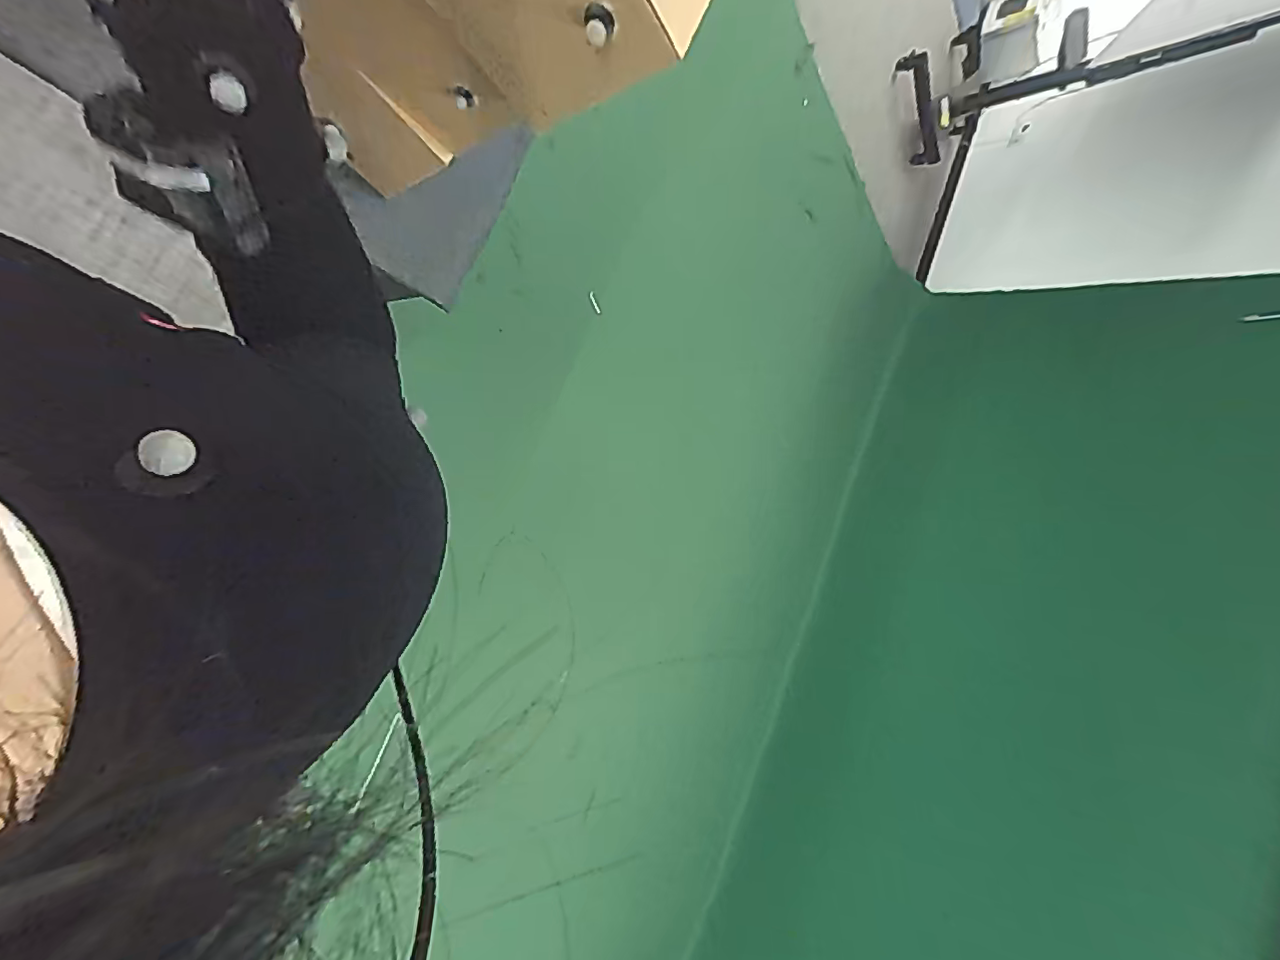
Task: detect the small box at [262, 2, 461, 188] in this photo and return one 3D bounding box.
[{"bbox_3d":[-0.279,-0.467,0.601,0.168,0.176,0.179,39,70,-43],"label":"small box"}]

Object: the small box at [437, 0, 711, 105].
[{"bbox_3d":[-0.050,-0.403,0.374,0.179,0.176,0.168,35,70,-44],"label":"small box"}]

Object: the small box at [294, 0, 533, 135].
[{"bbox_3d":[-0.169,-0.449,0.482,0.179,0.176,0.168,28,76,-44],"label":"small box"}]
